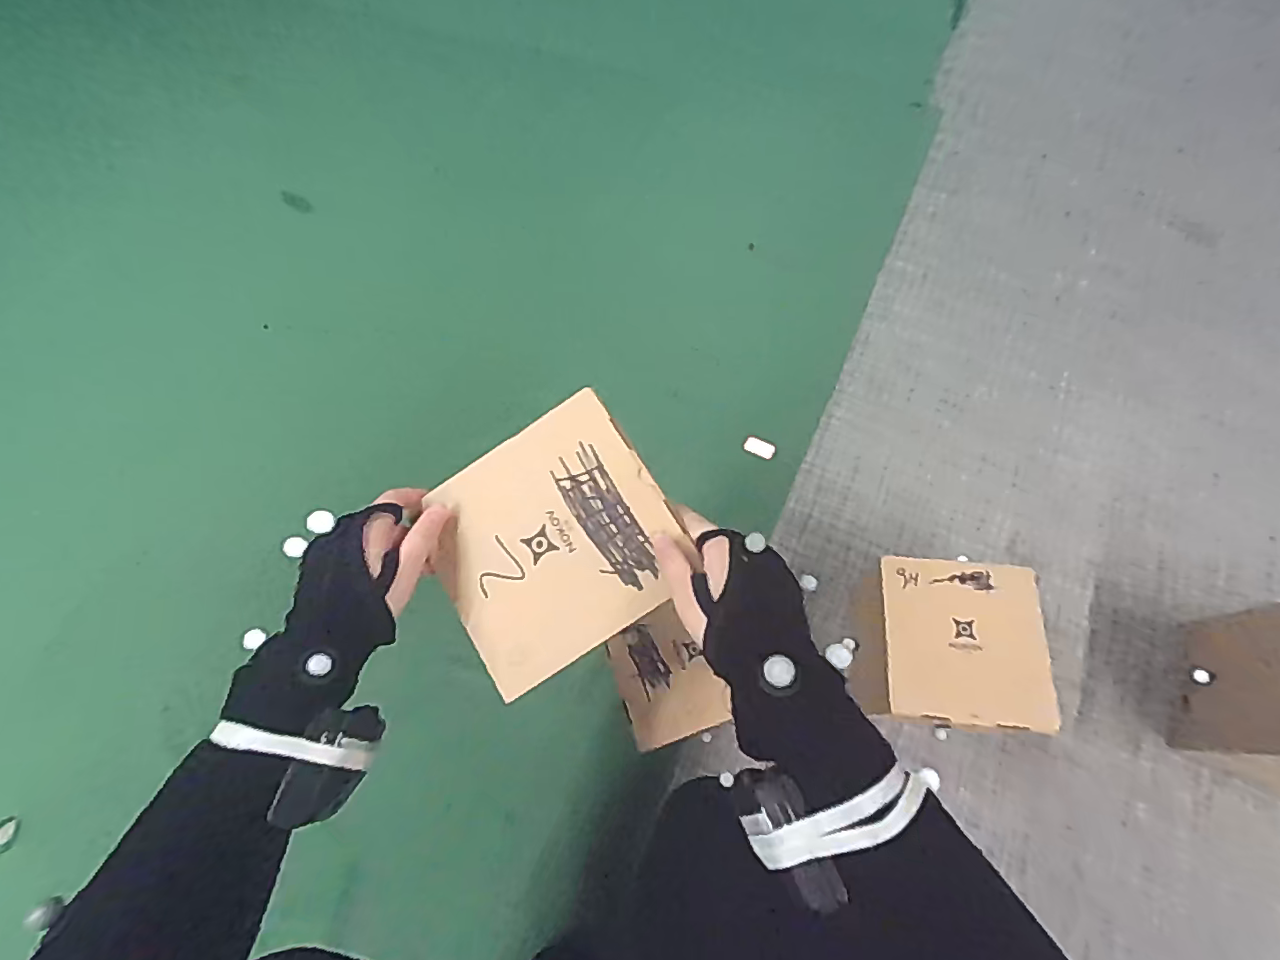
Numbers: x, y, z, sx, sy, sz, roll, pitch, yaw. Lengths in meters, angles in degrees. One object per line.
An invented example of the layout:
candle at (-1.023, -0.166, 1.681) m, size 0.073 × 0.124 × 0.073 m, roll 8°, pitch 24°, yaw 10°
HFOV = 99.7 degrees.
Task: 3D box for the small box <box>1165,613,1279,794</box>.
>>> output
small box at (0.745, 0.255, 0.592) m, size 0.179 × 0.176 × 0.168 m, roll 20°, pitch 69°, yaw 14°

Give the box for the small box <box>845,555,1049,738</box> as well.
small box at (0.356, 0.205, 0.663) m, size 0.168 × 0.176 × 0.179 m, roll 5°, pitch 67°, yaw 9°

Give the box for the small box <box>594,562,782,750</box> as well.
small box at (0.059, 0.229, 0.688) m, size 0.179 × 0.176 × 0.168 m, roll -20°, pitch 65°, yaw -3°
